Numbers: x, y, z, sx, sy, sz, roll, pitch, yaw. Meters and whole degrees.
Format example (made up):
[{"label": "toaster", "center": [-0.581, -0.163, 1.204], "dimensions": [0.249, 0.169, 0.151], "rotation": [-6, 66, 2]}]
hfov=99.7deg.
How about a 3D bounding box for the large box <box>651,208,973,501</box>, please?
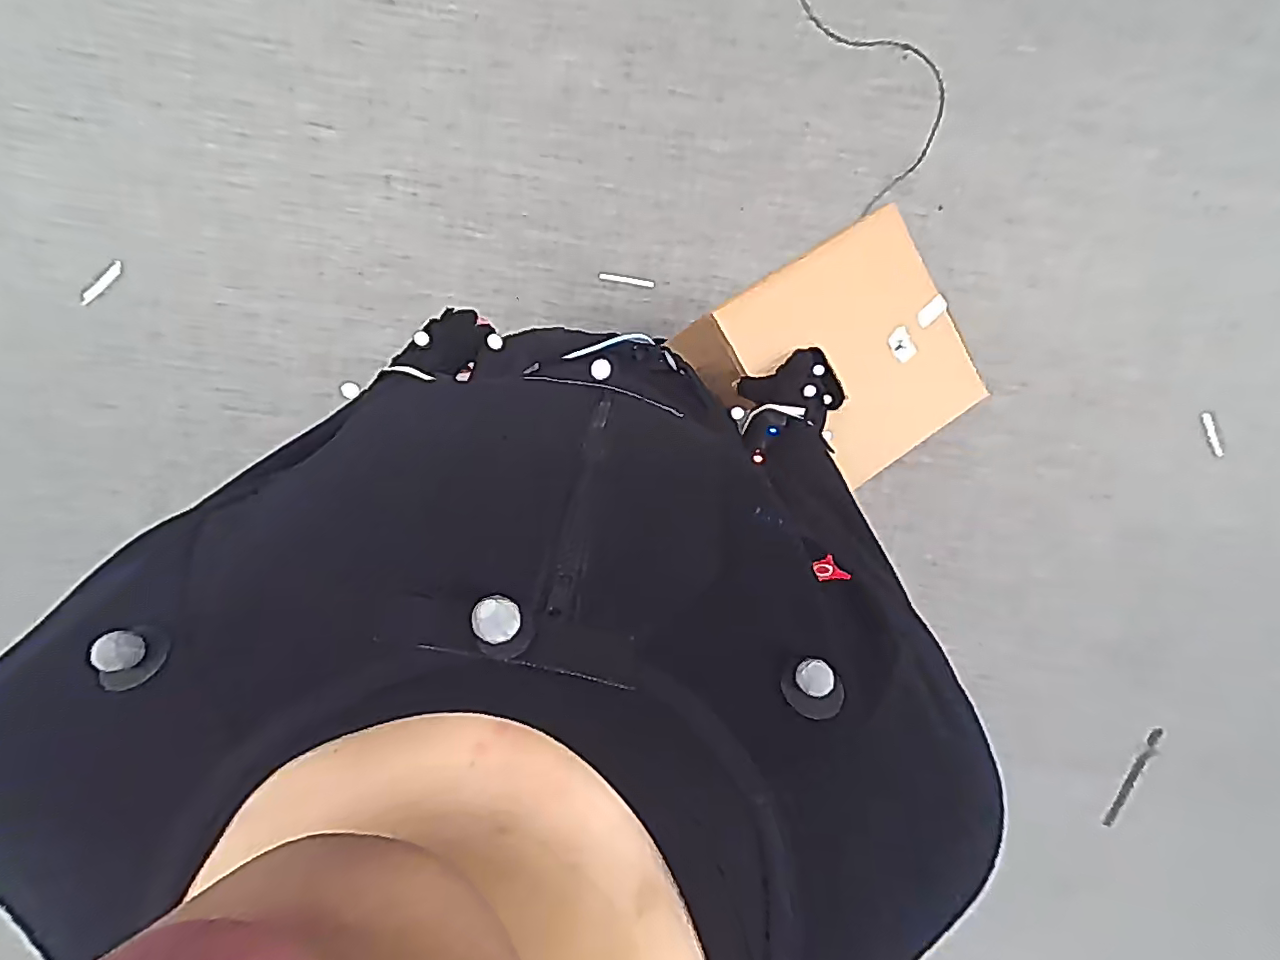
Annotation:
[{"label": "large box", "center": [0.259, -0.189, 0.945], "dimensions": [0.320, 0.408, 0.320], "rotation": [-32, 99, -7]}]
